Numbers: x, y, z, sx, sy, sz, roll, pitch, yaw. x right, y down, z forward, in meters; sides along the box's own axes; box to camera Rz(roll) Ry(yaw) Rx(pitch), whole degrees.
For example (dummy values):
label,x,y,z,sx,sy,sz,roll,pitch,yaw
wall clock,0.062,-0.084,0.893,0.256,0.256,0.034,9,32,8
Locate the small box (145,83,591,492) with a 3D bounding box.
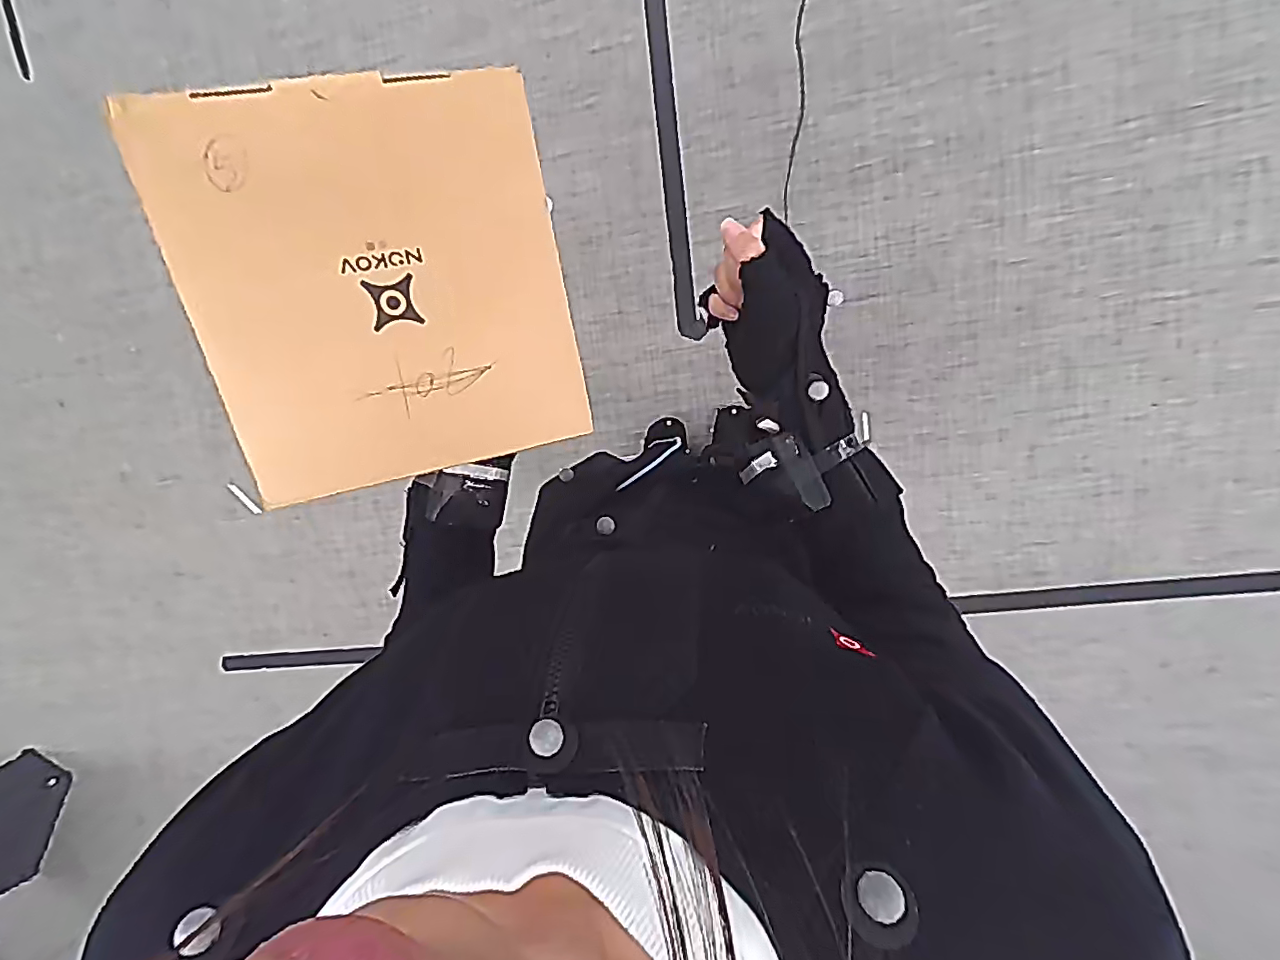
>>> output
label,x,y,z,sx,sy,sz,roll,pitch,yaw
small box,-0.141,-0.111,0.342,0.168,0.176,0.179,-15,108,-13
